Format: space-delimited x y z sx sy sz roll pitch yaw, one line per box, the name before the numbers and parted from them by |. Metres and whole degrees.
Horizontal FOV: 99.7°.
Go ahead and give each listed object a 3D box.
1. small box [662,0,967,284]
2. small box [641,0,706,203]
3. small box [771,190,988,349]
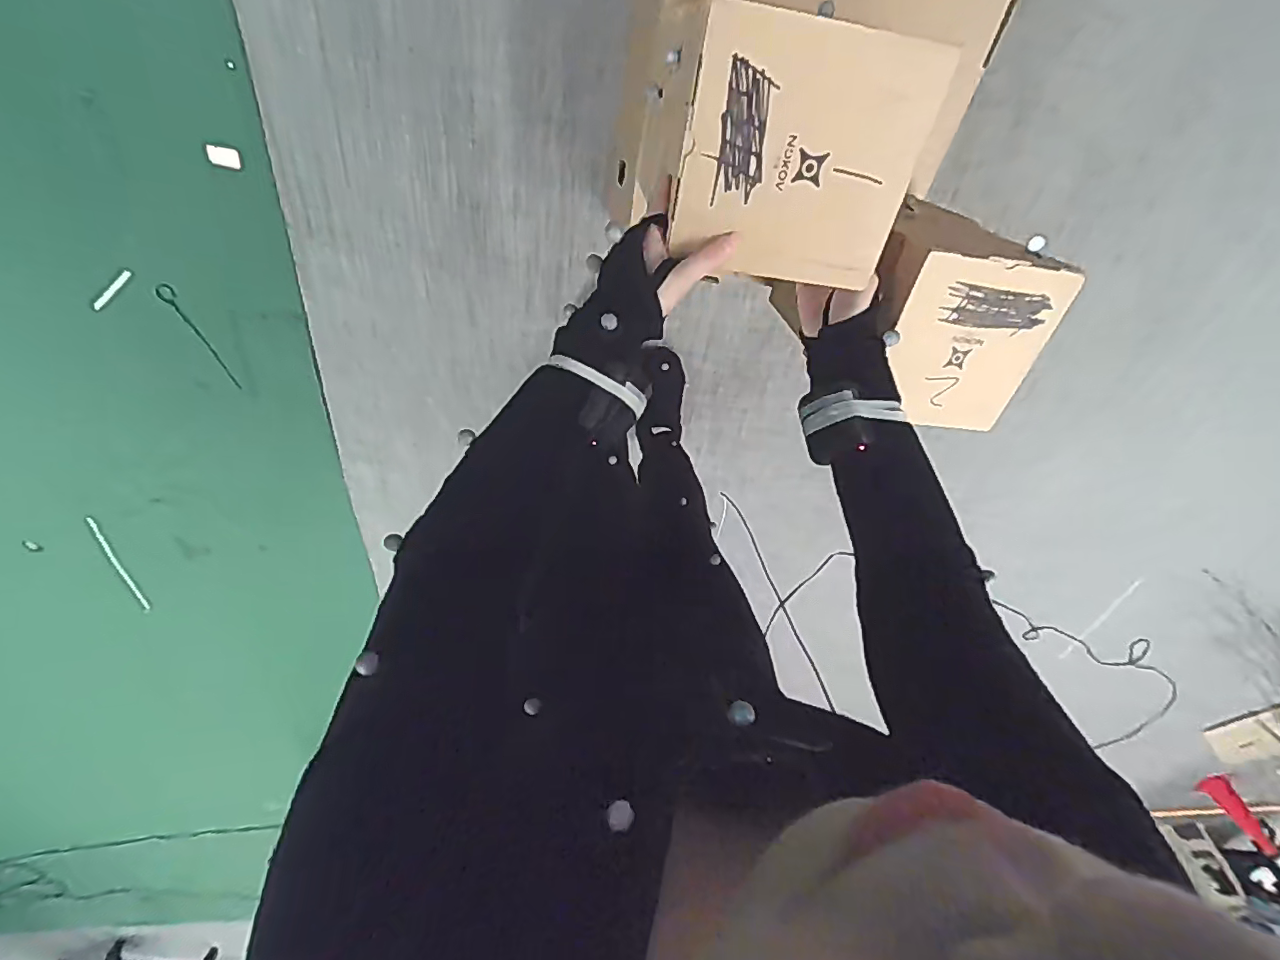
small box | 0.117 -0.285 0.458 0.179 0.176 0.168 5 128 -7
small box | 0.097 -0.408 0.606 0.168 0.176 0.179 5 126 -9
small box | 0.299 -0.290 0.718 0.179 0.176 0.168 3 127 -9
